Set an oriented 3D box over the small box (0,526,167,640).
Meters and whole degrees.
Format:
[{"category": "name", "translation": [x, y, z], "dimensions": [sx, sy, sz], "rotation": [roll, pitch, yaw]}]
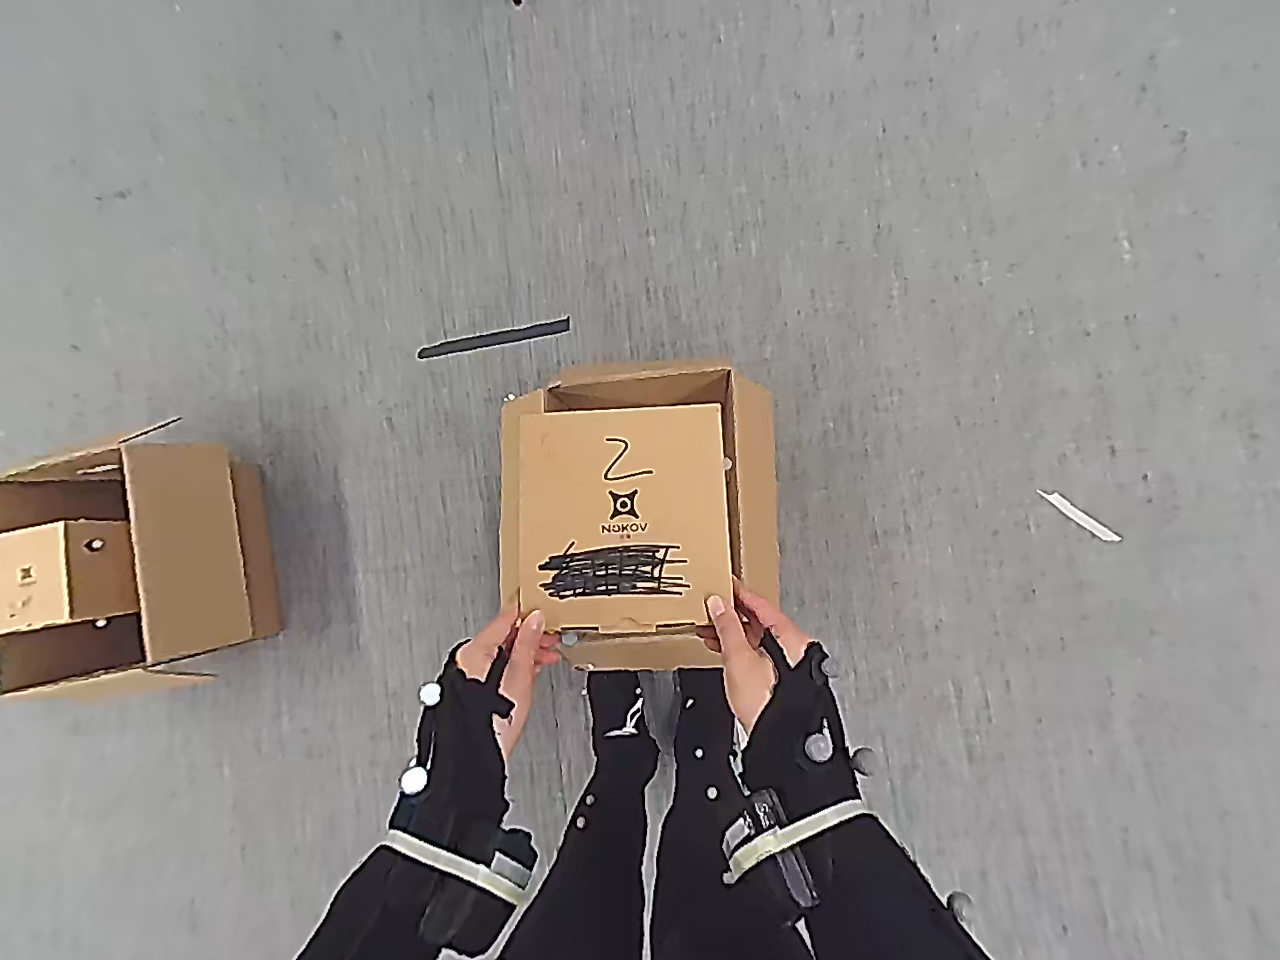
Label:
[{"category": "small box", "translation": [-1.042, 0.186, 1.014], "dimensions": [0.168, 0.176, 0.179], "rotation": [-11, 84, 7]}]
